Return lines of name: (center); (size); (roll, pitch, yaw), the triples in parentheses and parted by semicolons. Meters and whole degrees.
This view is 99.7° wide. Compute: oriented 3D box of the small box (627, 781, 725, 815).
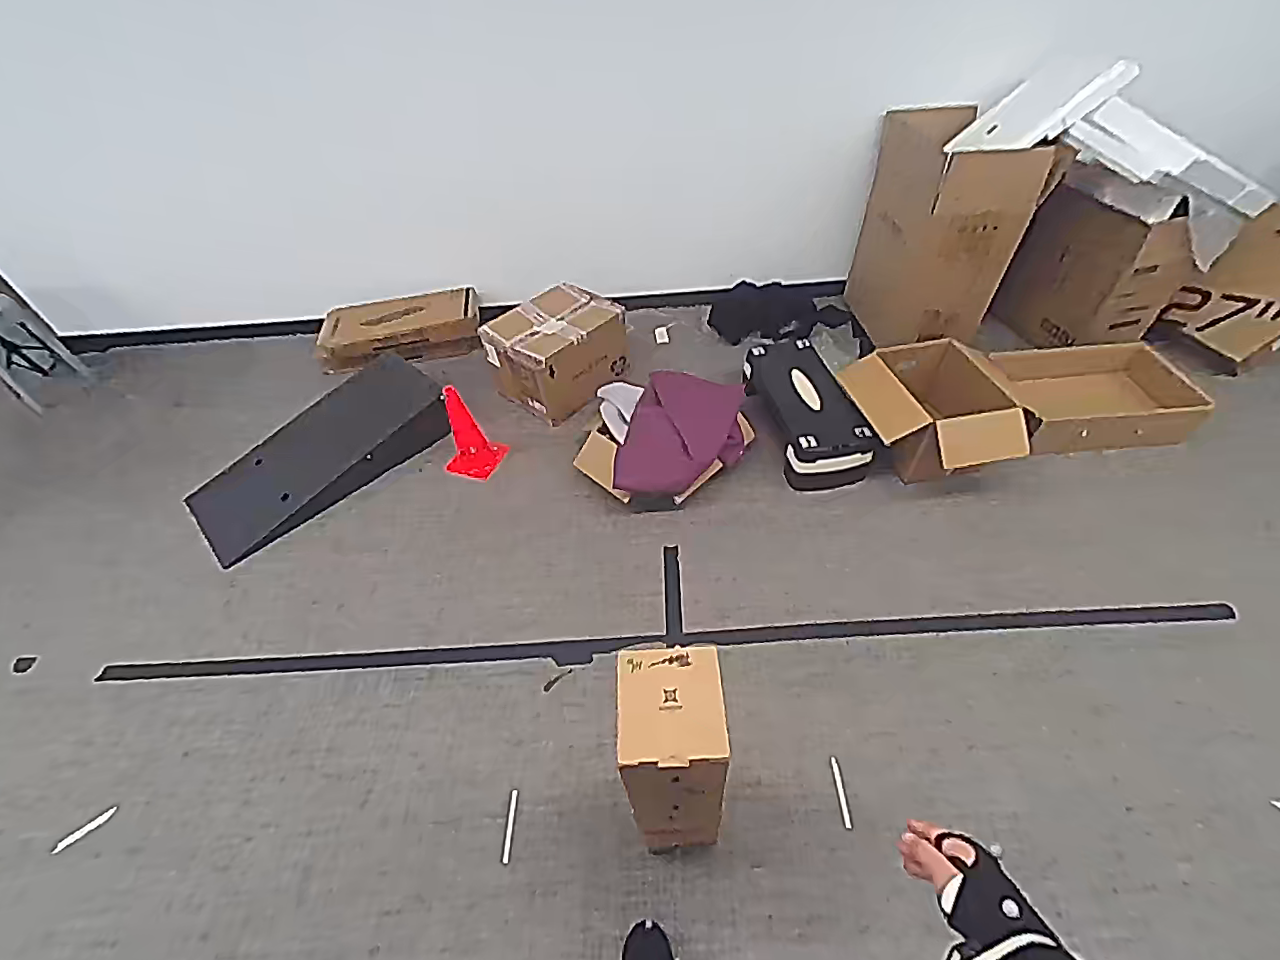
small box: (0.067, 0.504, 1.006); (0.168, 0.176, 0.179); (-2, 48, 4)

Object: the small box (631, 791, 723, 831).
small box: (0.075, 0.617, 1.126); (0.179, 0.176, 0.168); (-4, 47, 2)

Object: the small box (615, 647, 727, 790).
small box: (0.052, 0.395, 0.885); (0.168, 0.176, 0.179); (-4, 48, 3)

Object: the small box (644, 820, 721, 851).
small box: (0.087, 0.729, 1.246); (0.168, 0.176, 0.179); (-8, 48, -1)
